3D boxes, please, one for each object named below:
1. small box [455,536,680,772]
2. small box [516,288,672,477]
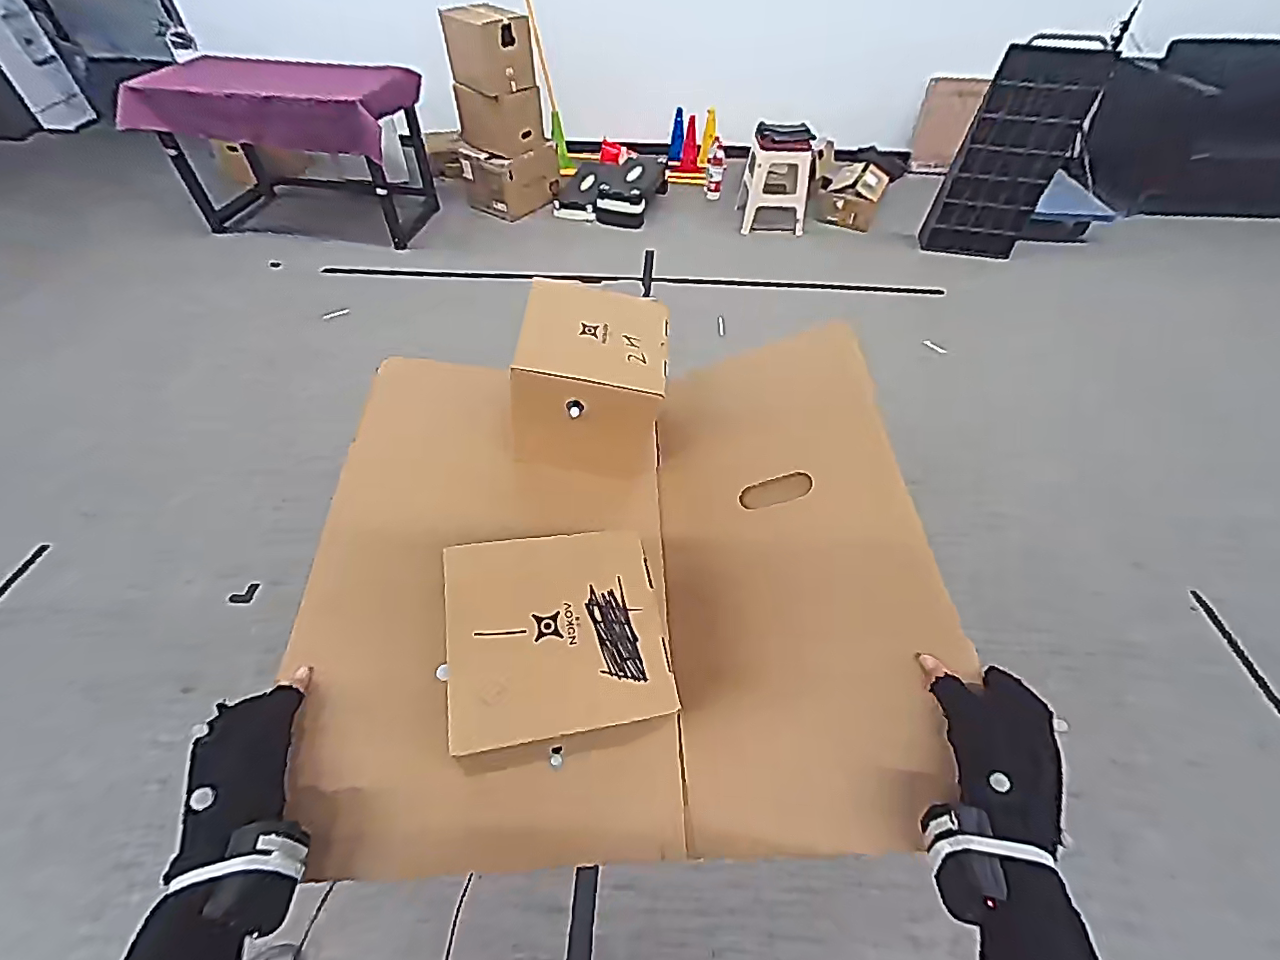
[{"bbox_3d":[-0.080,0.169,0.519,0.179,0.176,0.168,-4,58,-15],"label":"small box"},{"bbox_3d":[-0.064,-0.121,0.719,0.179,0.176,0.168,10,55,-8],"label":"small box"}]
